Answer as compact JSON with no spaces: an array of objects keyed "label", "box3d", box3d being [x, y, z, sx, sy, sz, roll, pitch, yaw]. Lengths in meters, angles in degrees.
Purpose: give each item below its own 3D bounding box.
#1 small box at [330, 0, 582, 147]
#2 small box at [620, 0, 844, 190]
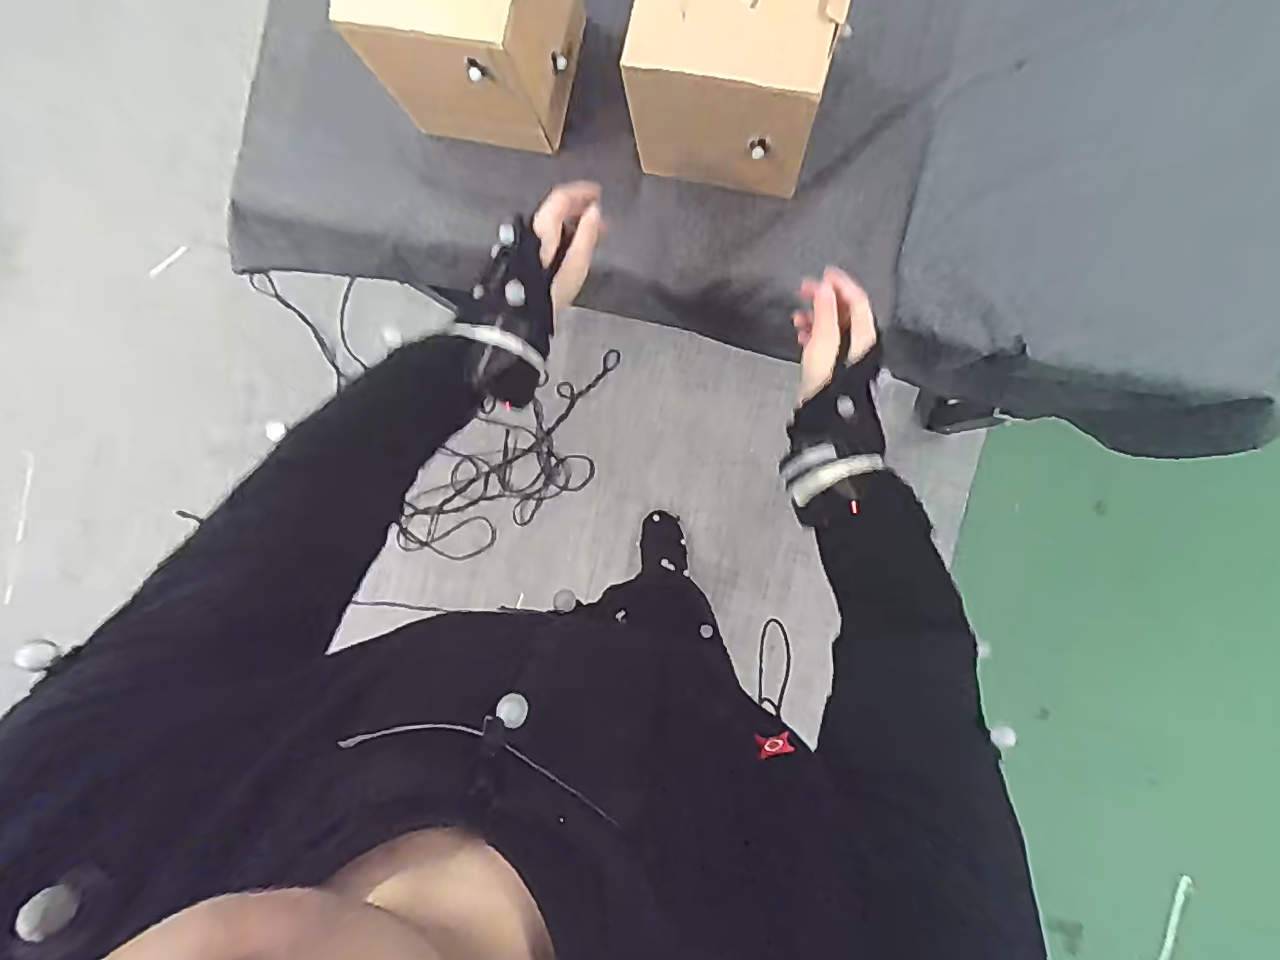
[{"label":"small box","box3d":[-0.176,-0.485,0.567,0.179,0.176,0.168,13,91,6]},{"label":"small box","box3d":[0.094,-0.415,0.532,0.179,0.176,0.168,13,91,8]}]
